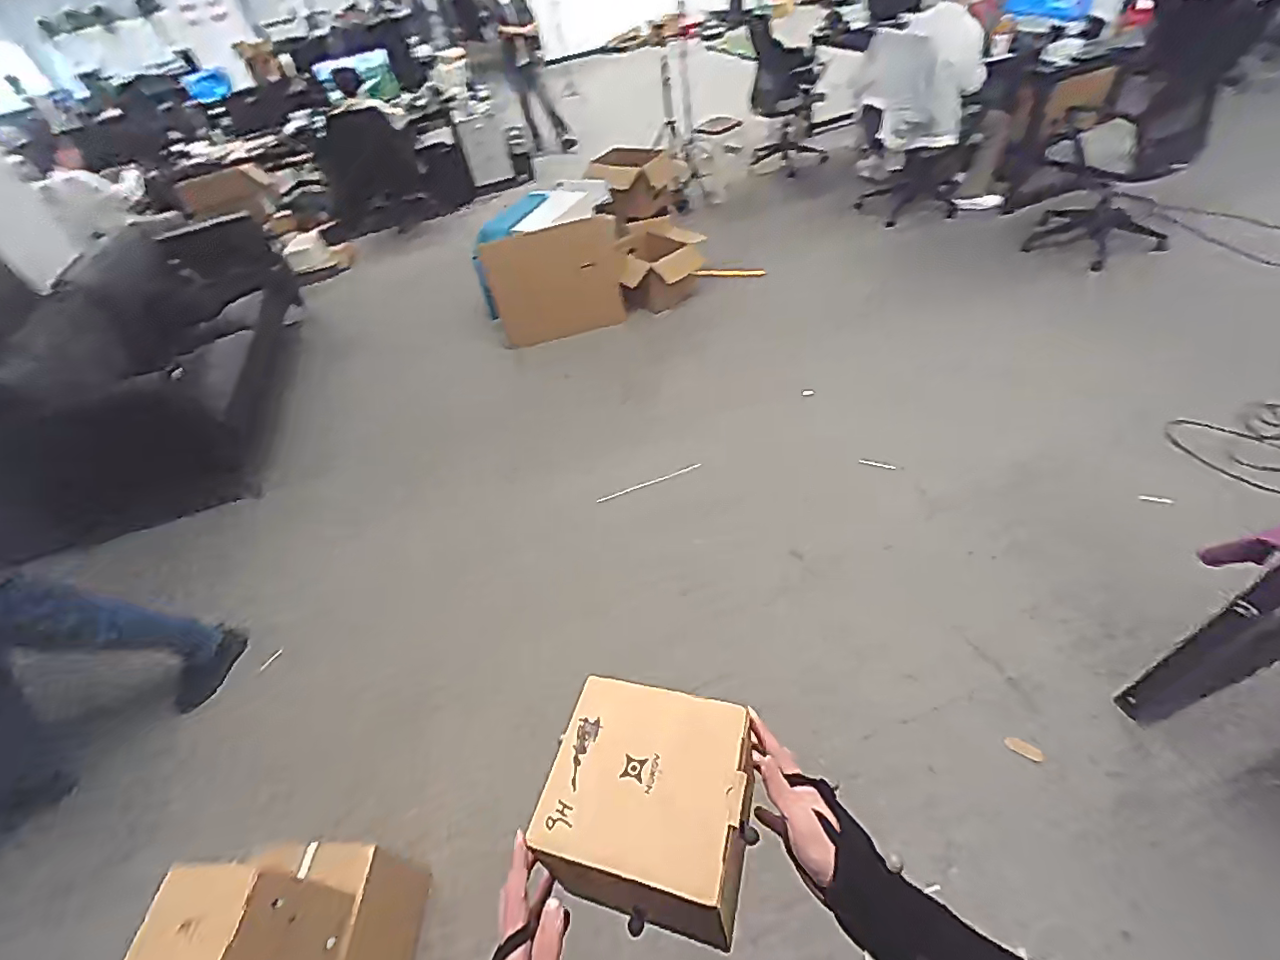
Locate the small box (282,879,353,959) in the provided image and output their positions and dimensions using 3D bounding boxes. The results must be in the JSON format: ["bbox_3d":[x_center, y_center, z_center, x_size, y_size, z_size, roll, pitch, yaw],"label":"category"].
[{"bbox_3d":[-0.711,0.895,1.061,0.179,0.176,0.168,-3,47,7],"label":"small box"}]

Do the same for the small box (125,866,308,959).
[{"bbox_3d":[-0.728,0.785,0.941,0.179,0.176,0.168,-5,45,7],"label":"small box"}]
